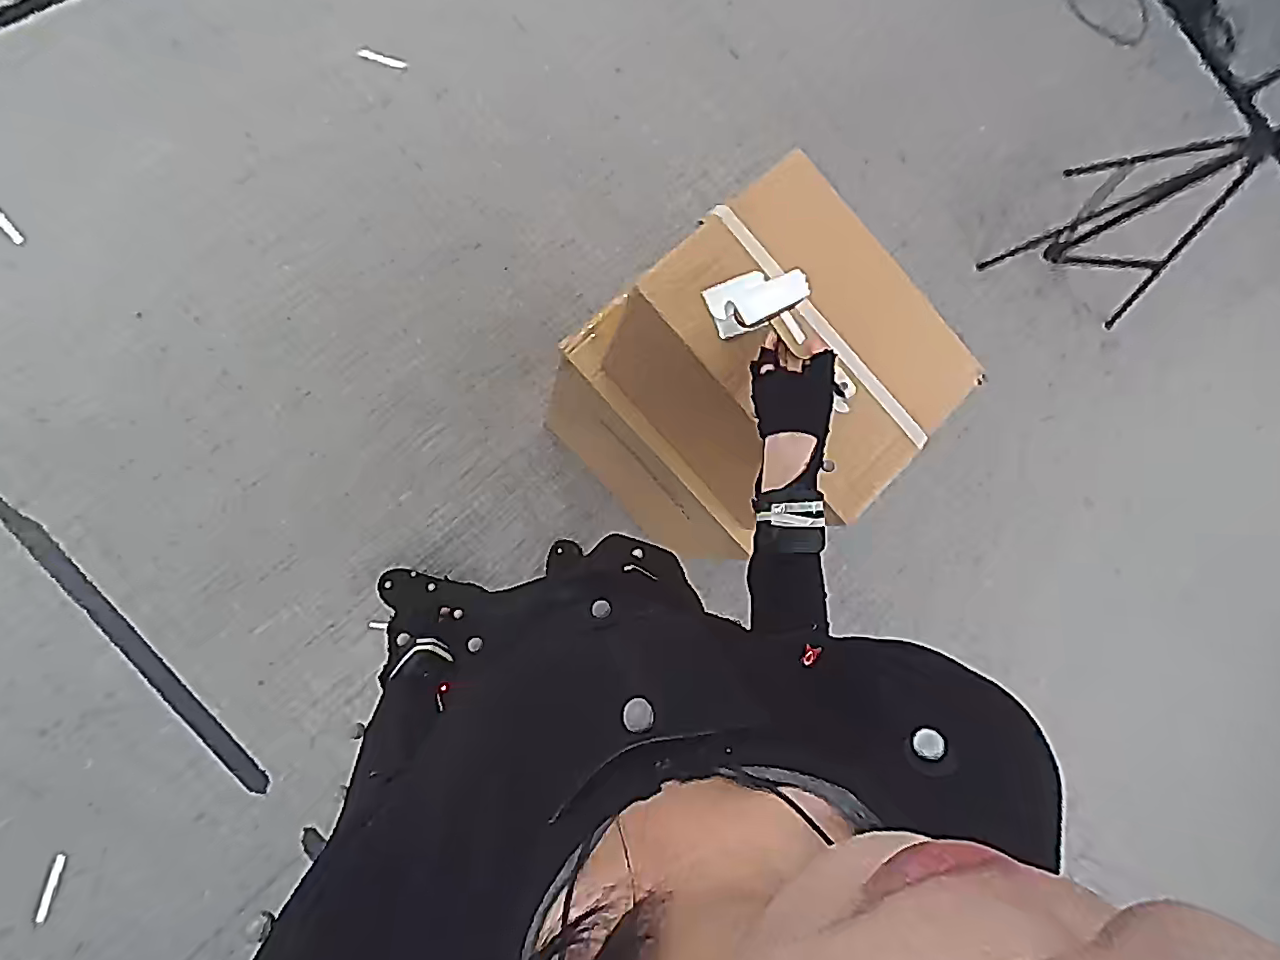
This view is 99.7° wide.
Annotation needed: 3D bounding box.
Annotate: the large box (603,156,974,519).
[{"bbox_3d":[0.203,-0.186,0.860,0.320,0.320,0.408,-43,95,-13],"label":"large box"}]
